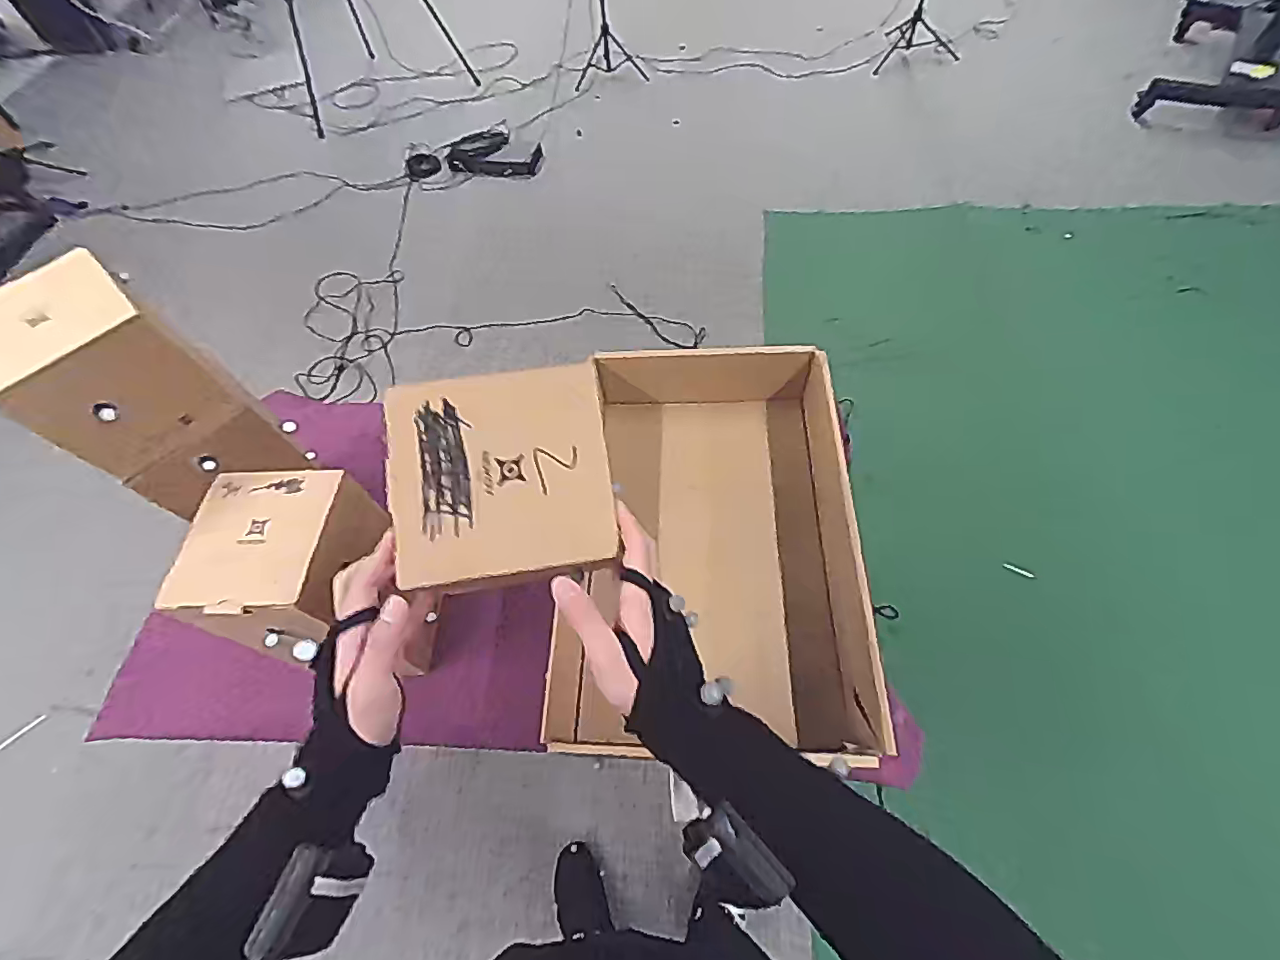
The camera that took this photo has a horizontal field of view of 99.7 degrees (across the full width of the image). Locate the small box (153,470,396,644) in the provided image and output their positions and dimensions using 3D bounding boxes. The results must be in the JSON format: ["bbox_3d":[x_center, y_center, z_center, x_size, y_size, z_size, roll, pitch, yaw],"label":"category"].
[{"bbox_3d":[-0.438,0.104,0.687,0.168,0.176,0.179,-1,59,3],"label":"small box"}]

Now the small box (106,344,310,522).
[{"bbox_3d":[-0.642,-0.056,0.797,0.168,0.176,0.179,40,69,22],"label":"small box"}]

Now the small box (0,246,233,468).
[{"bbox_3d":[-0.655,-0.138,0.658,0.179,0.176,0.168,38,69,22],"label":"small box"}]

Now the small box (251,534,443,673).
[{"bbox_3d":[-0.427,0.193,0.824,0.179,0.176,0.168,-2,59,3],"label":"small box"}]
